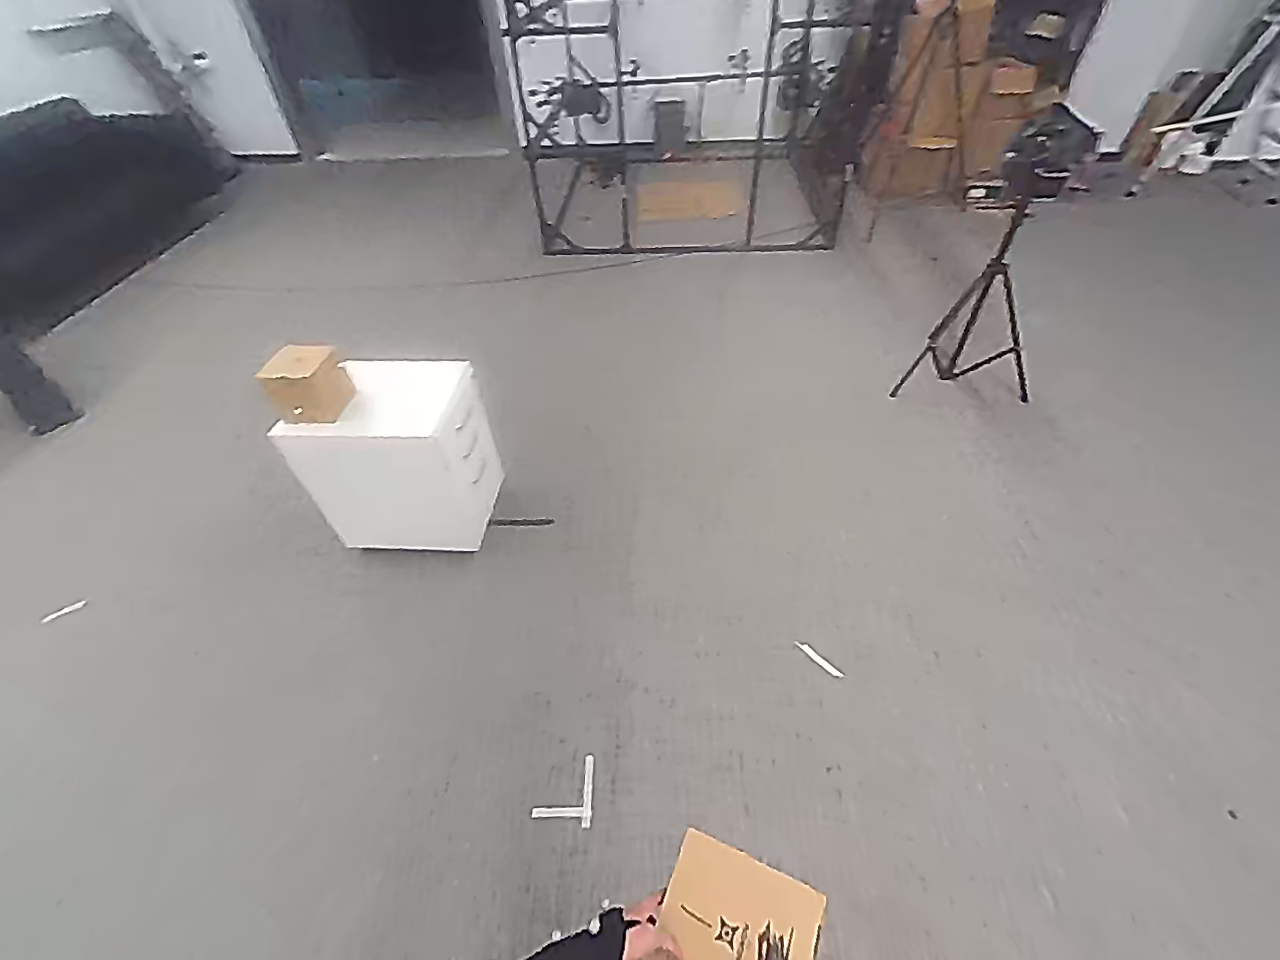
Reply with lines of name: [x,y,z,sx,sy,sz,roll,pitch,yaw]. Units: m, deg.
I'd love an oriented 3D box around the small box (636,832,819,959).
small box: [0.104,0.571,0.666,0.179,0.176,0.168,15,53,20]

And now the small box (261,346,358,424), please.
small box: [-0.993,-0.292,1.650,0.168,0.176,0.179,1,46,4]
